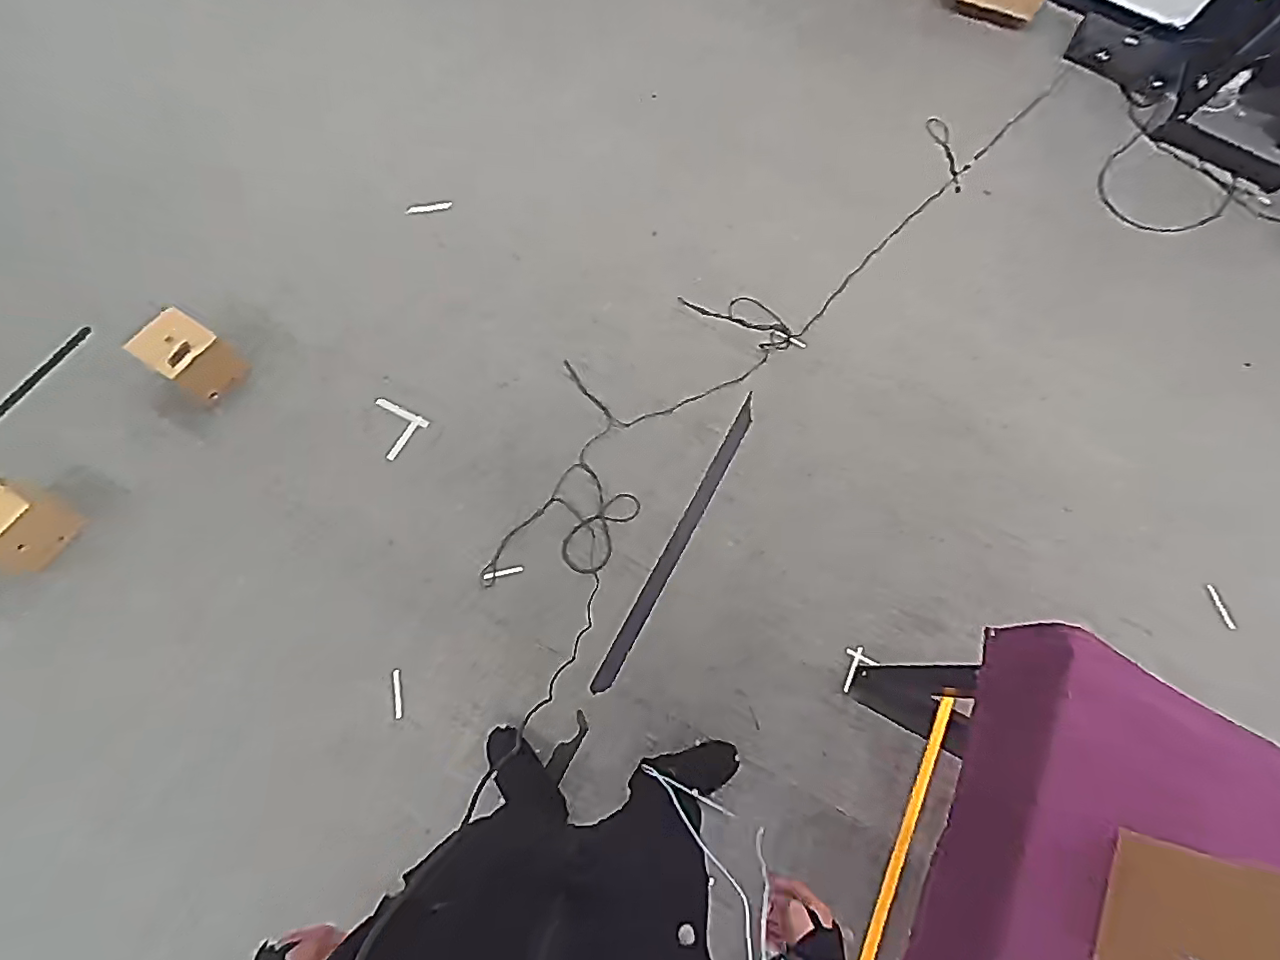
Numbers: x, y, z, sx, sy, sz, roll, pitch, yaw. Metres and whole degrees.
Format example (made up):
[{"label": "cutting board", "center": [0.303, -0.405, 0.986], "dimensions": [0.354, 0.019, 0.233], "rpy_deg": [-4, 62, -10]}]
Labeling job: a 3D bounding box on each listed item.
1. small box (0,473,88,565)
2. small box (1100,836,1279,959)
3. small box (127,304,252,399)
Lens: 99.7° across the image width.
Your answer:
[{"label": "small box", "center": [-1.566, 0.098, 1.349], "dimensions": [0.179, 0.176, 0.168], "rpy_deg": [30, 71, 5]}, {"label": "small box", "center": [0.715, 0.581, 0.655], "dimensions": [0.168, 0.176, 0.179], "rpy_deg": [31, 71, 4]}, {"label": "small box", "center": [-1.263, -0.353, 1.533], "dimensions": [0.179, 0.176, 0.168], "rpy_deg": [32, 70, 6]}]
